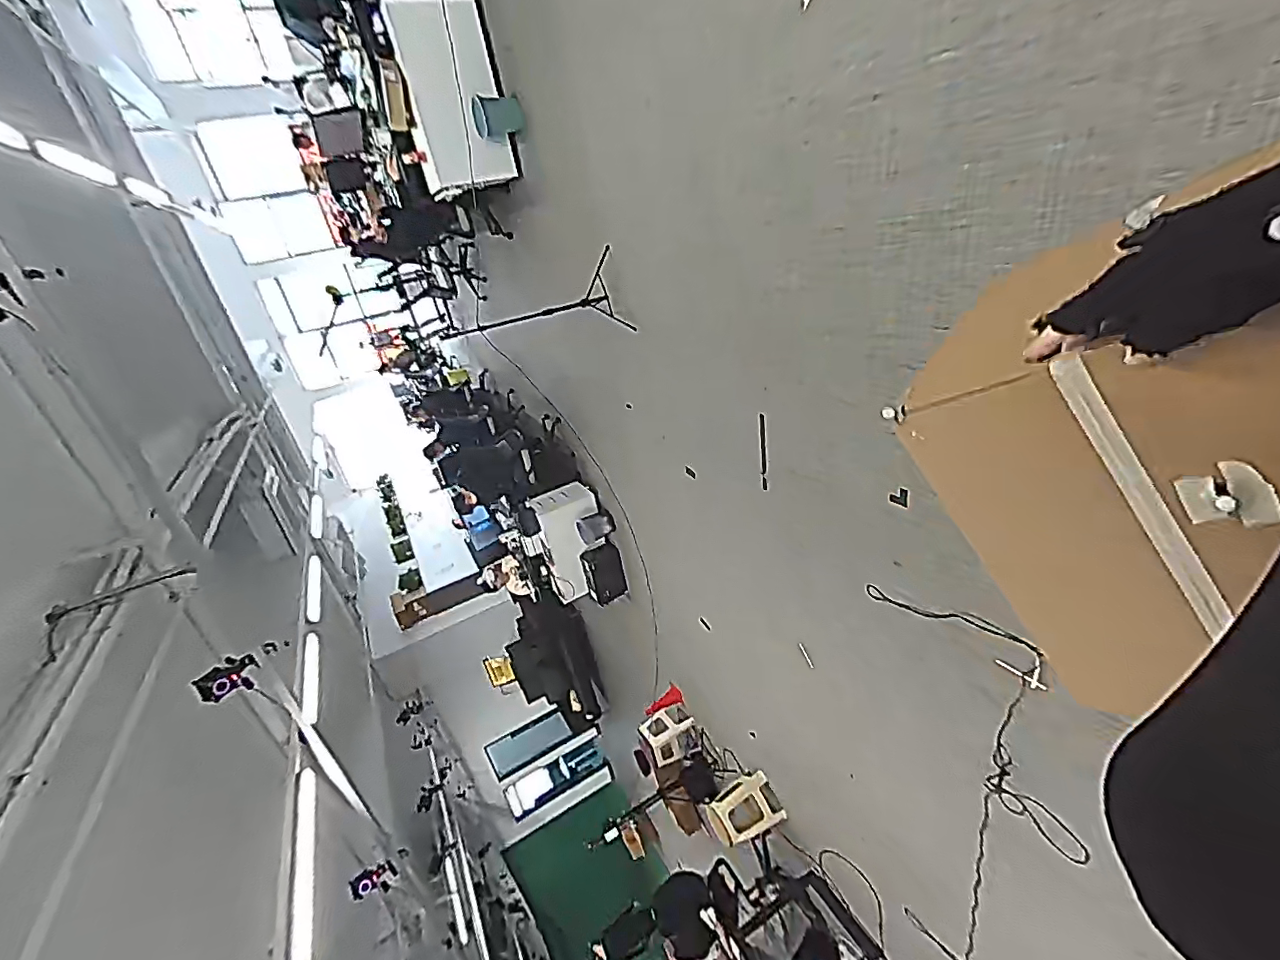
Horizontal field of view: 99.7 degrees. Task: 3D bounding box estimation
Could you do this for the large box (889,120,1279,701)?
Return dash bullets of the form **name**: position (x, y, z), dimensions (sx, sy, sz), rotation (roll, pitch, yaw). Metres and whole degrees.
- **large box**: position (0.534, -0.053, 0.504), dimensions (0.408, 0.320, 0.320), rotation (52, 152, -9)
